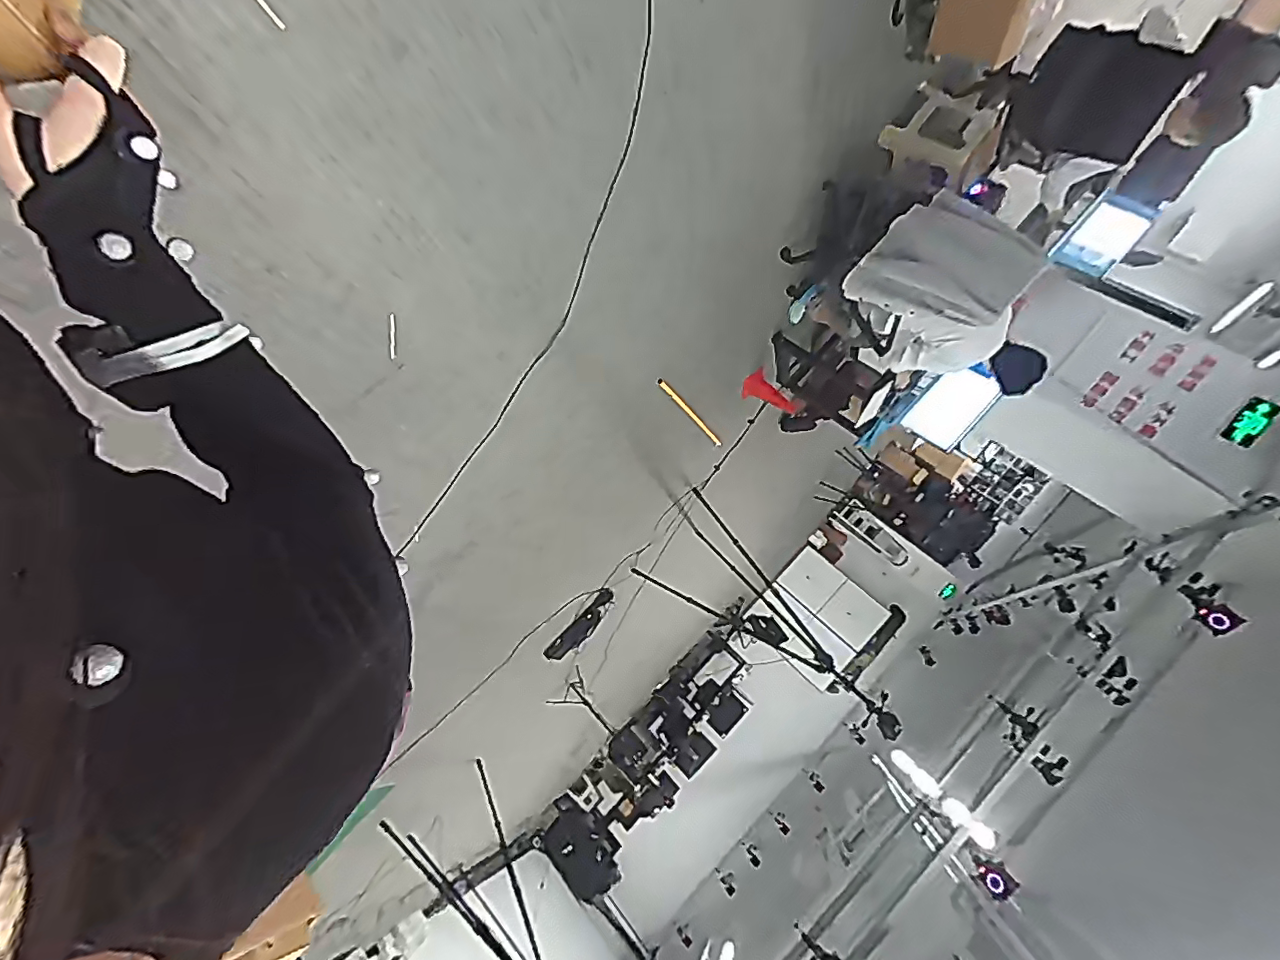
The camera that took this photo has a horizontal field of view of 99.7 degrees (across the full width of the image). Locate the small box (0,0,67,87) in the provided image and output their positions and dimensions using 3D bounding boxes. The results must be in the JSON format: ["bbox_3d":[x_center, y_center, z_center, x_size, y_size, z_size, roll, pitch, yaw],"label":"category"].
[{"bbox_3d":[-0.448,-0.337,0.276,0.168,0.176,0.179,-12,161,-2],"label":"small box"}]
